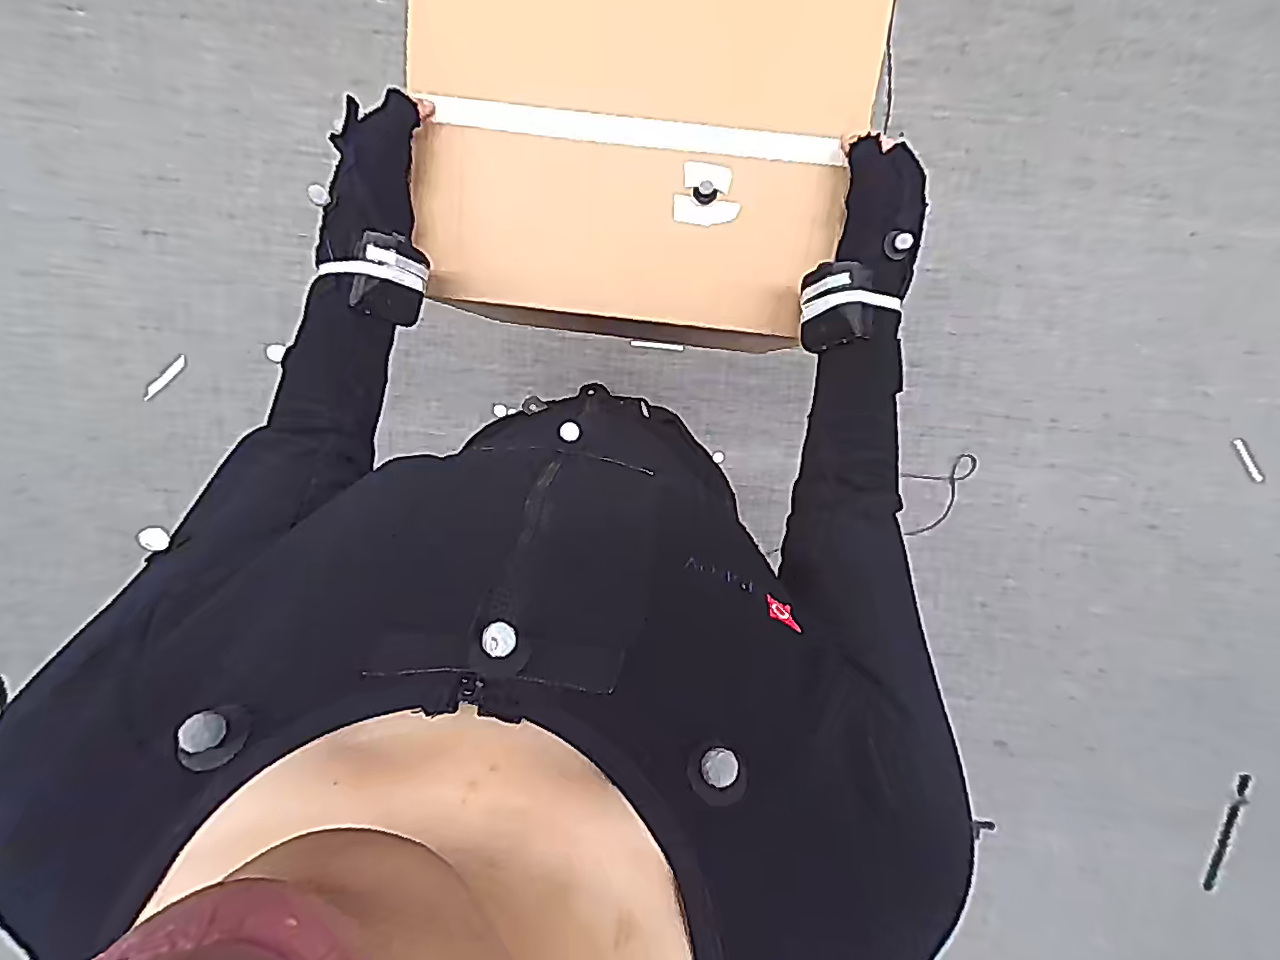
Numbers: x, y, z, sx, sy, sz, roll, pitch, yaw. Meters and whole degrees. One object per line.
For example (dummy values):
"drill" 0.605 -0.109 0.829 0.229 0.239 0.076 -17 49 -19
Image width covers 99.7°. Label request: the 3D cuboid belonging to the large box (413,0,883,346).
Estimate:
"large box" -0.002 -0.339 0.626 0.408 0.320 0.320 6 102 -1
